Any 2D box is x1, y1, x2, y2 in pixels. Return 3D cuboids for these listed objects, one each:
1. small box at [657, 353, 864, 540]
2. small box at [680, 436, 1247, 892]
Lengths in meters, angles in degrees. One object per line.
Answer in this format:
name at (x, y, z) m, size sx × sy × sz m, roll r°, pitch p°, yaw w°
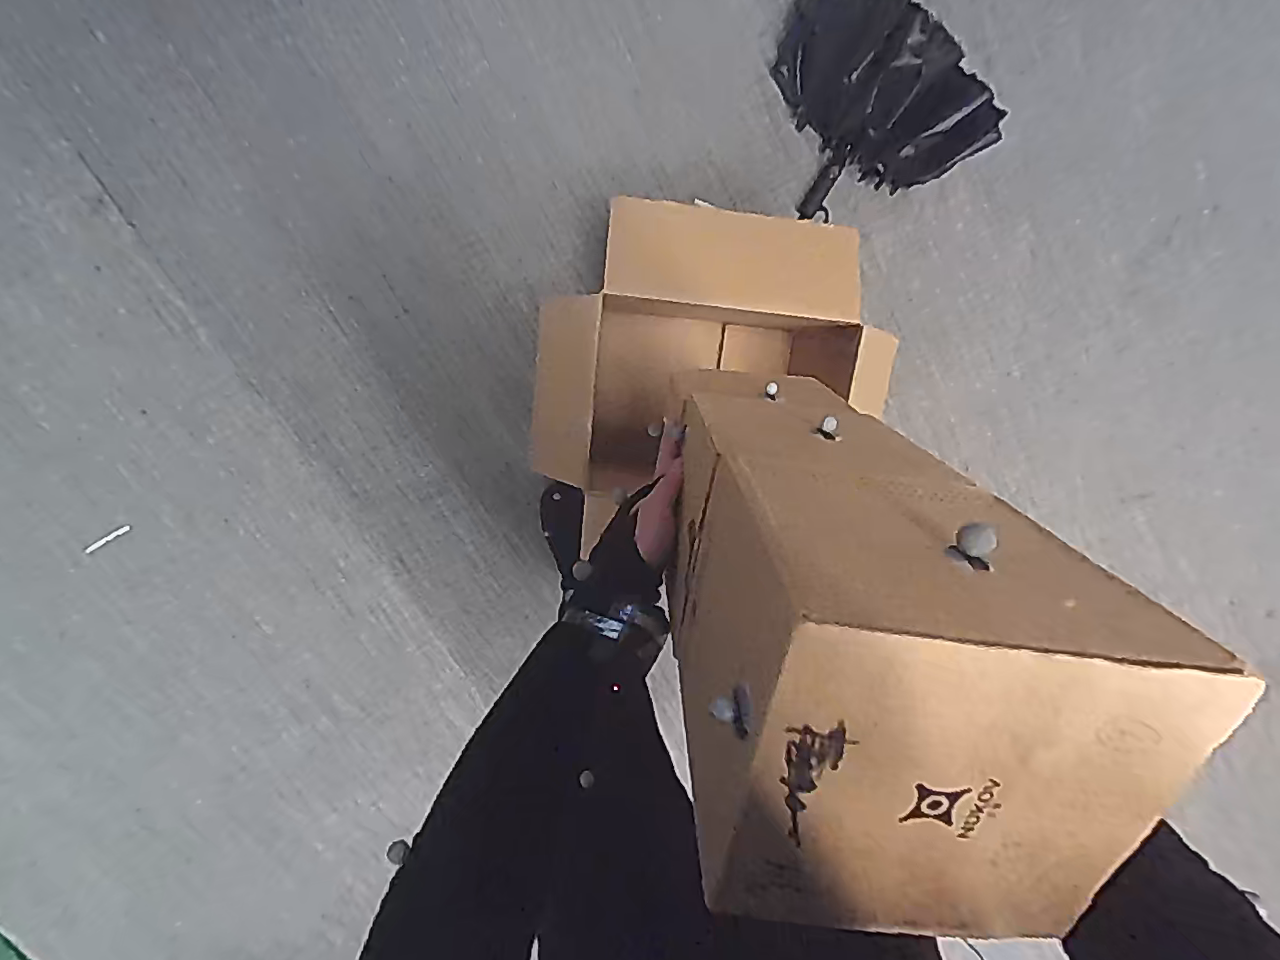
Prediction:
small box at (0.115, -0.041, 0.601) m, size 0.179 × 0.176 × 0.168 m, roll 4°, pitch 113°, yaw -2°
small box at (0.127, 0.085, 0.298) m, size 0.179 × 0.176 × 0.168 m, roll 7°, pitch 114°, yaw -5°
